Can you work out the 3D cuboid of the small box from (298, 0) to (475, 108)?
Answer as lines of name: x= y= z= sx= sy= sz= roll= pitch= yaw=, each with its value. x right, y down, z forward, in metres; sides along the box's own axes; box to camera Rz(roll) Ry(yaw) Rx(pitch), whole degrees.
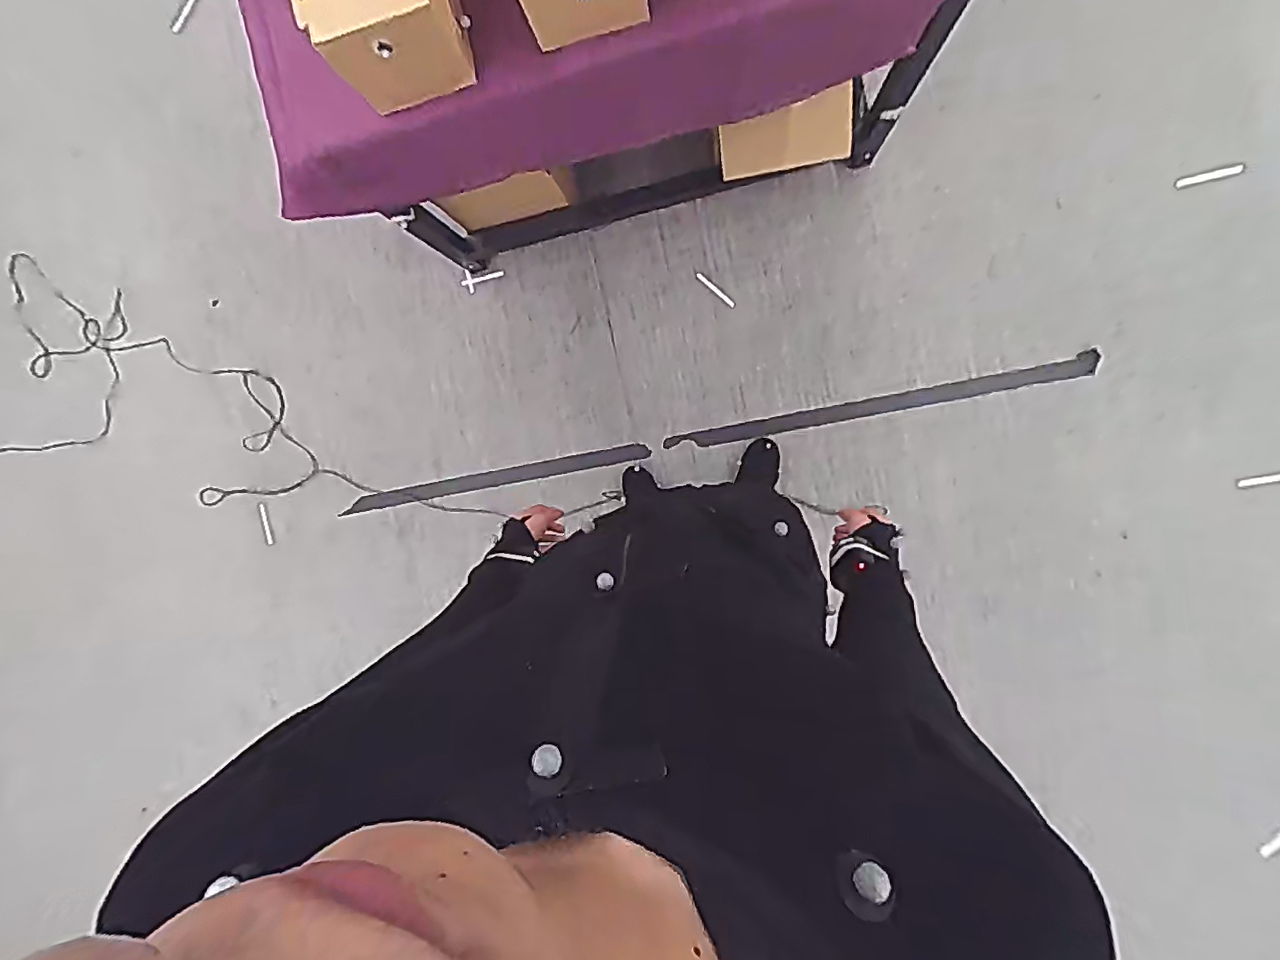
small box: x=-0.369 y=-0.688 z=0.787 sx=0.179 sy=0.176 sz=0.168 roll=-12 pitch=94 yaw=7
